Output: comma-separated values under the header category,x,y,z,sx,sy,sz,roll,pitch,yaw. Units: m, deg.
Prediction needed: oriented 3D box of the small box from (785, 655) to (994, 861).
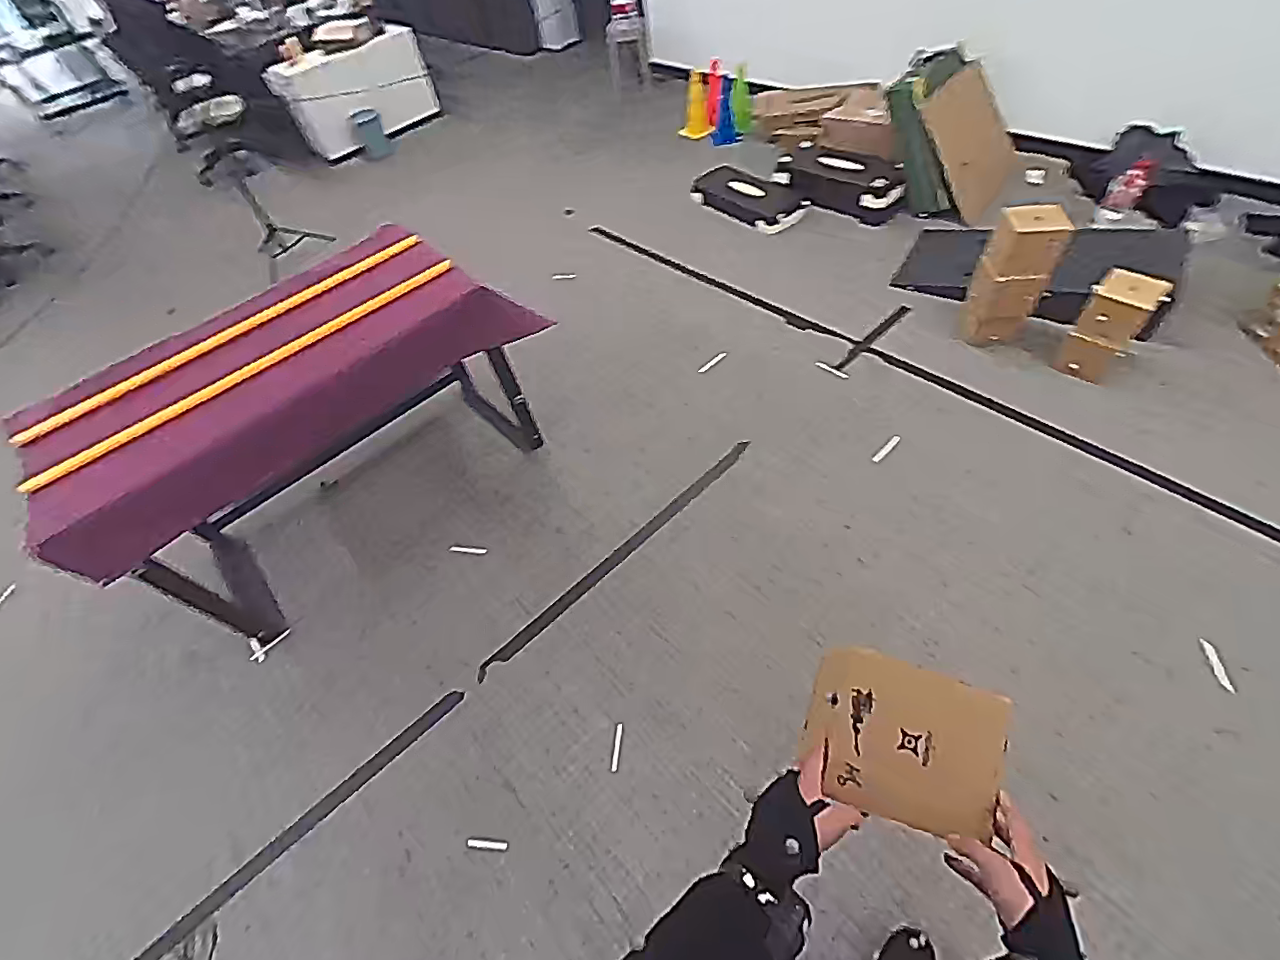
category,x,y,z,sx,sy,sz,roll,pitch,yaw
small box,0.297,0.326,0.675,0.179,0.176,0.168,16,73,10
